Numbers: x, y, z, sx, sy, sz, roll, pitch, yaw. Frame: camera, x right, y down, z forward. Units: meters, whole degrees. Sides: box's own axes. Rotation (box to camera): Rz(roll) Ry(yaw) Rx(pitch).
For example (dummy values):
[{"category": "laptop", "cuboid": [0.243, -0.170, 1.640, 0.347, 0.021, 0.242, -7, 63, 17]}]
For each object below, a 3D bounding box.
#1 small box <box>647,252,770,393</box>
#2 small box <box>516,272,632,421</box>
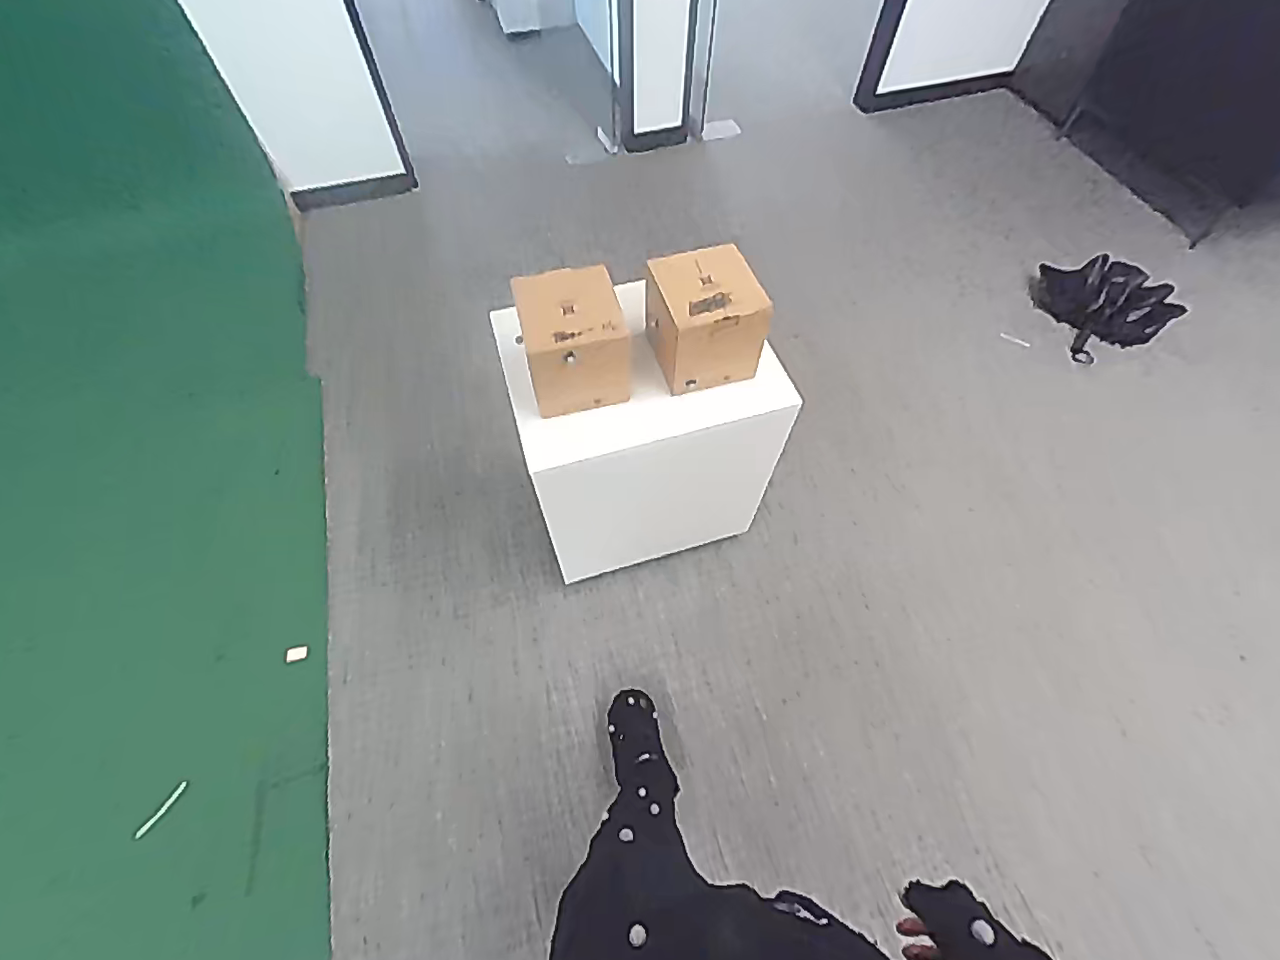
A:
[{"category": "small box", "cuboid": [0.115, -0.277, 0.980, 0.168, 0.176, 0.179, -14, 59, -8]}, {"category": "small box", "cuboid": [-0.113, -0.232, 0.953, 0.168, 0.176, 0.179, -13, 59, -7]}]
